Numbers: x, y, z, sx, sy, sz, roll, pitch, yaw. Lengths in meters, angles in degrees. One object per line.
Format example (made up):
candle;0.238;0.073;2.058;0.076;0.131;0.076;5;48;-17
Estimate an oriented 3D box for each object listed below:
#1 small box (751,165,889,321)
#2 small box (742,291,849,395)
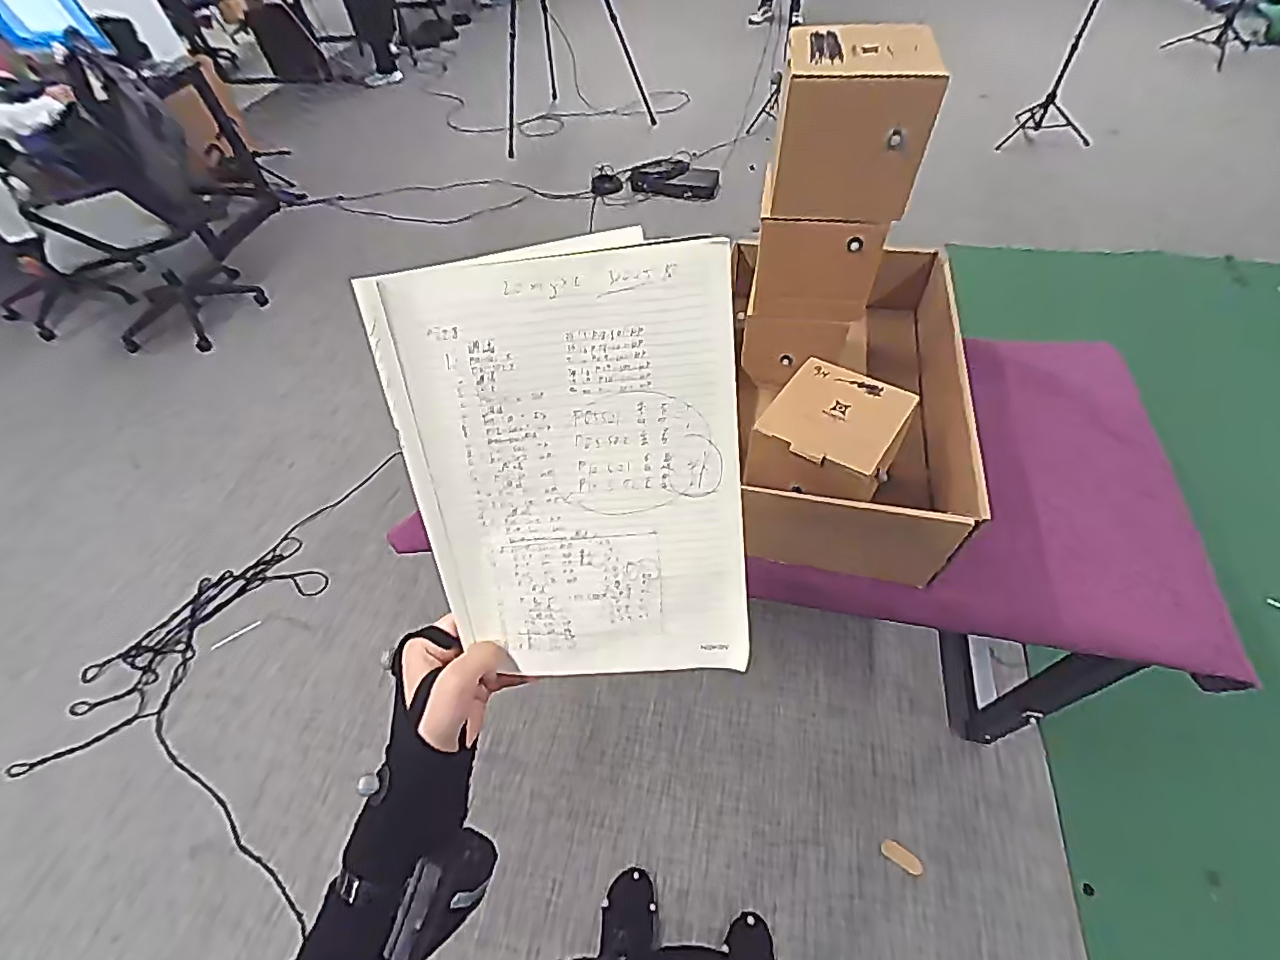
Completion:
small box;0.273;-0.368;0.848;0.179;0.176;0.168;7;55;10
small box;0.281;-0.277;0.981;0.168;0.176;0.179;9;56;12
